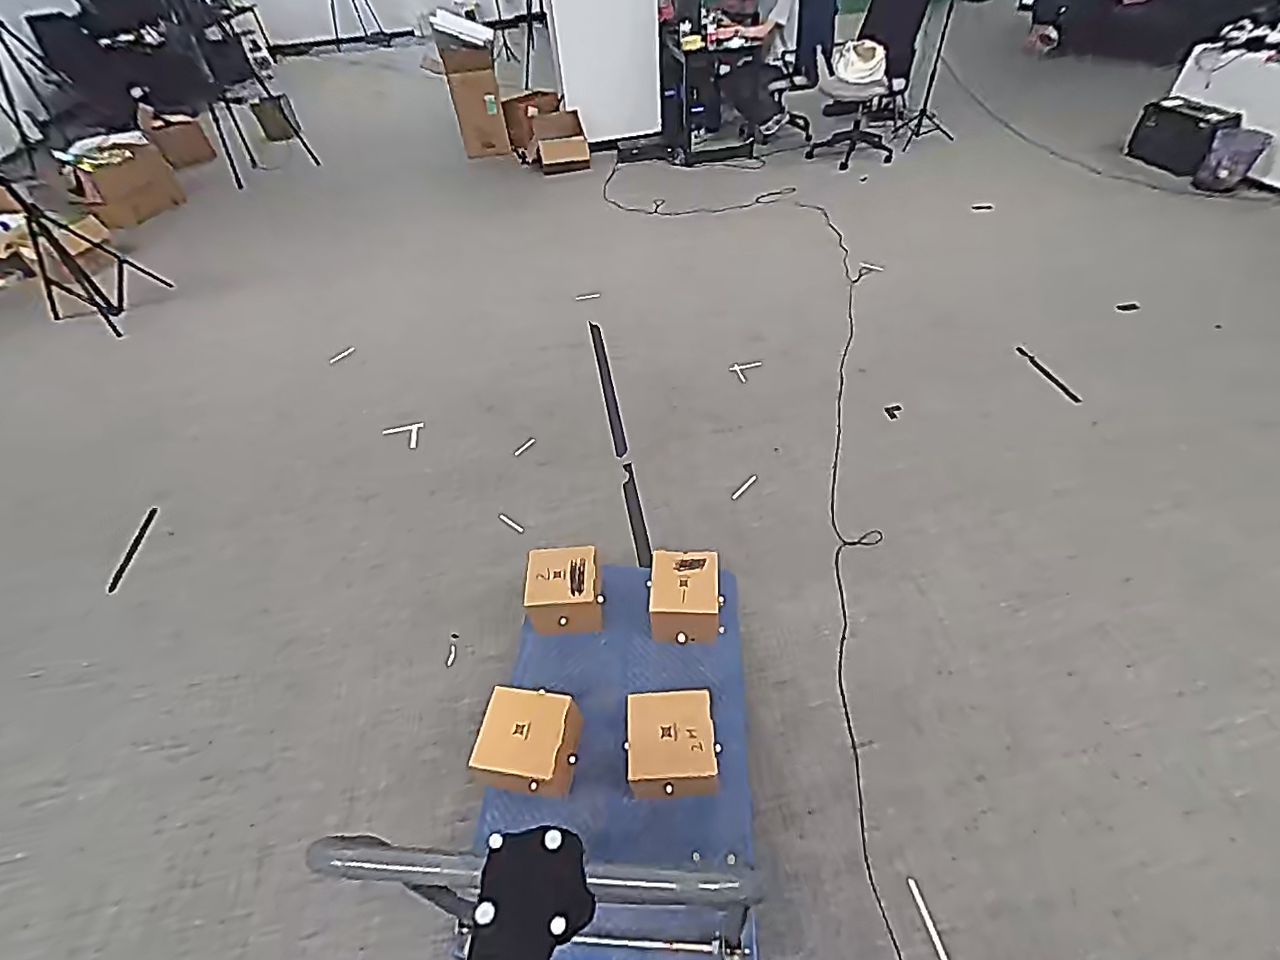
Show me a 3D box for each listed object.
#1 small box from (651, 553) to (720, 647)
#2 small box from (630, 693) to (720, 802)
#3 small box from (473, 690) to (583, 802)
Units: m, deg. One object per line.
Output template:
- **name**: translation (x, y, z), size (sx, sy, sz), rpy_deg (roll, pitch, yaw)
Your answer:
- **small box**: translation (0.120, 0.306, 1.386), size (0.168, 0.176, 0.179), rpy_deg (0, 48, 7)
- **small box**: translation (0.074, 0.570, 1.146), size (0.179, 0.176, 0.168), rpy_deg (-5, 47, 3)
- **small box**: translation (-0.233, 0.580, 1.174), size (0.179, 0.176, 0.168), rpy_deg (4, 47, 8)
